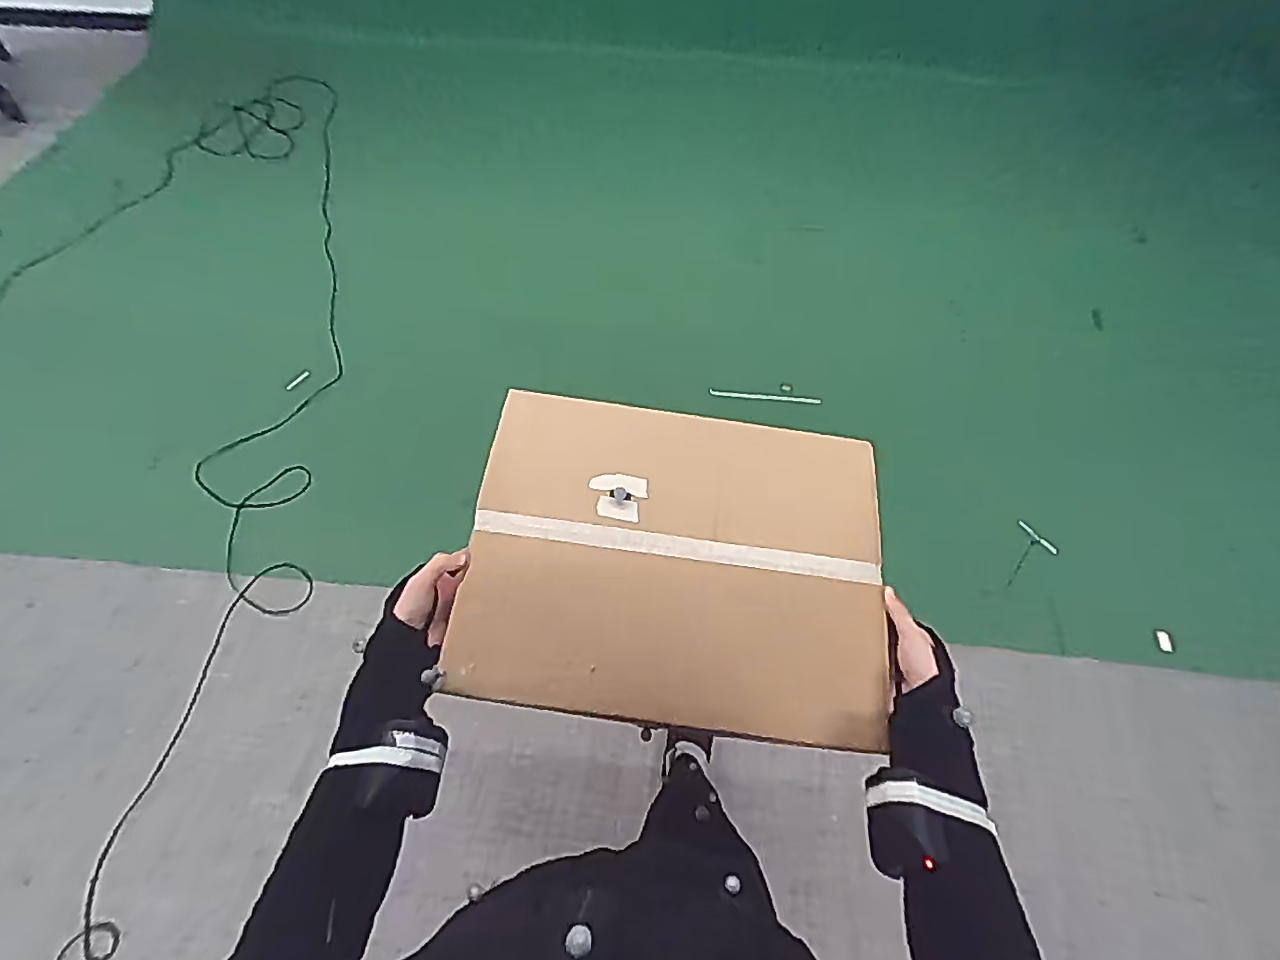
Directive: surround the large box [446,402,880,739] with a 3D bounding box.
[{"bbox_3d":[0.031,0.132,0.682,0.408,0.320,0.320,8,65,0],"label":"large box"}]
